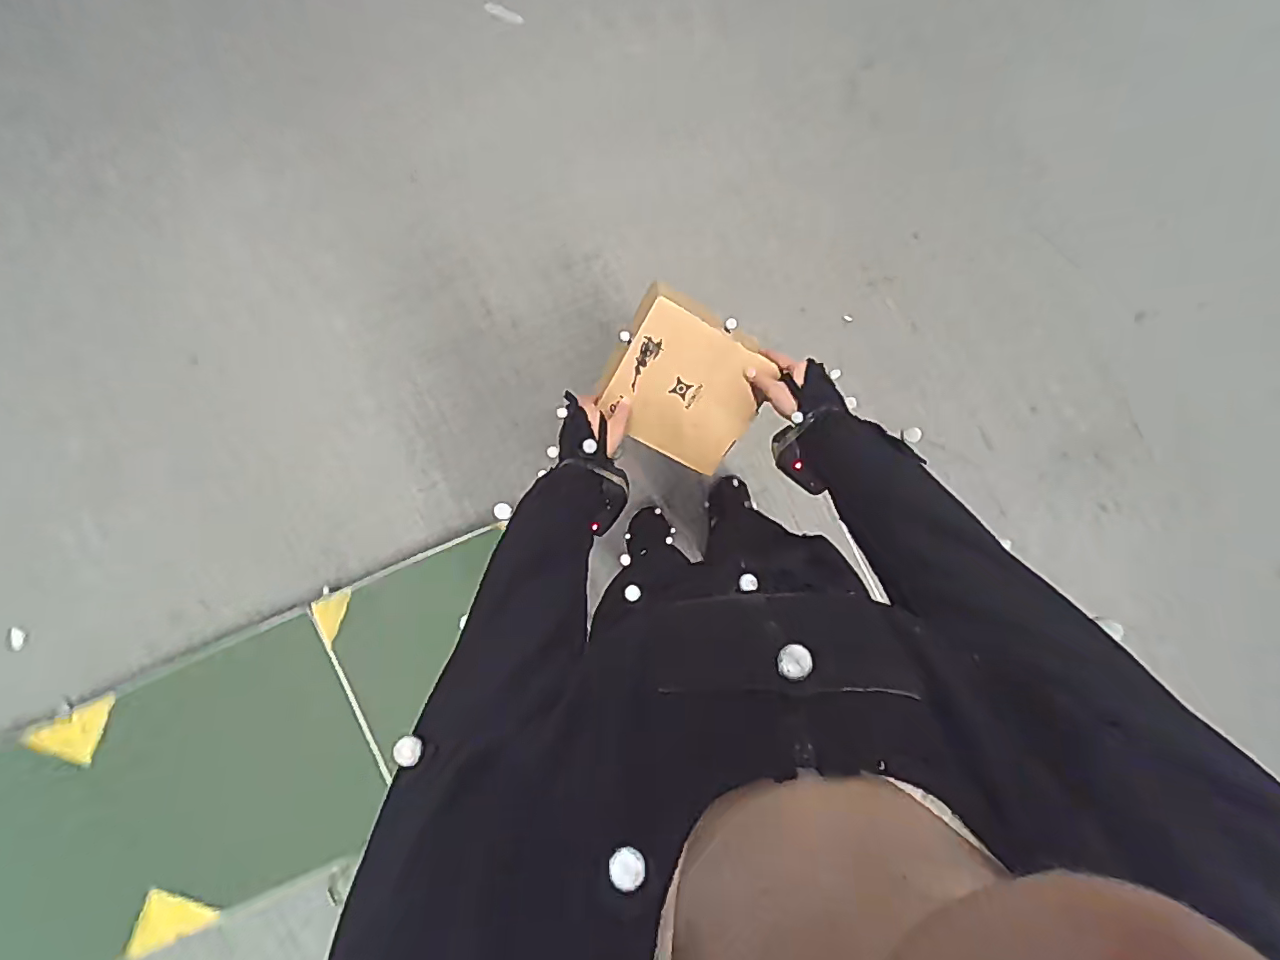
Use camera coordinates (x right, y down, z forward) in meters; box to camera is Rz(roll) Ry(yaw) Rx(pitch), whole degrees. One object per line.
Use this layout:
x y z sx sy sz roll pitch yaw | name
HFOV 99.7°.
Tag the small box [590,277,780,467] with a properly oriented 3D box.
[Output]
0.051 -0.151 0.715 0.179 0.176 0.168 26 113 -13 | small box
